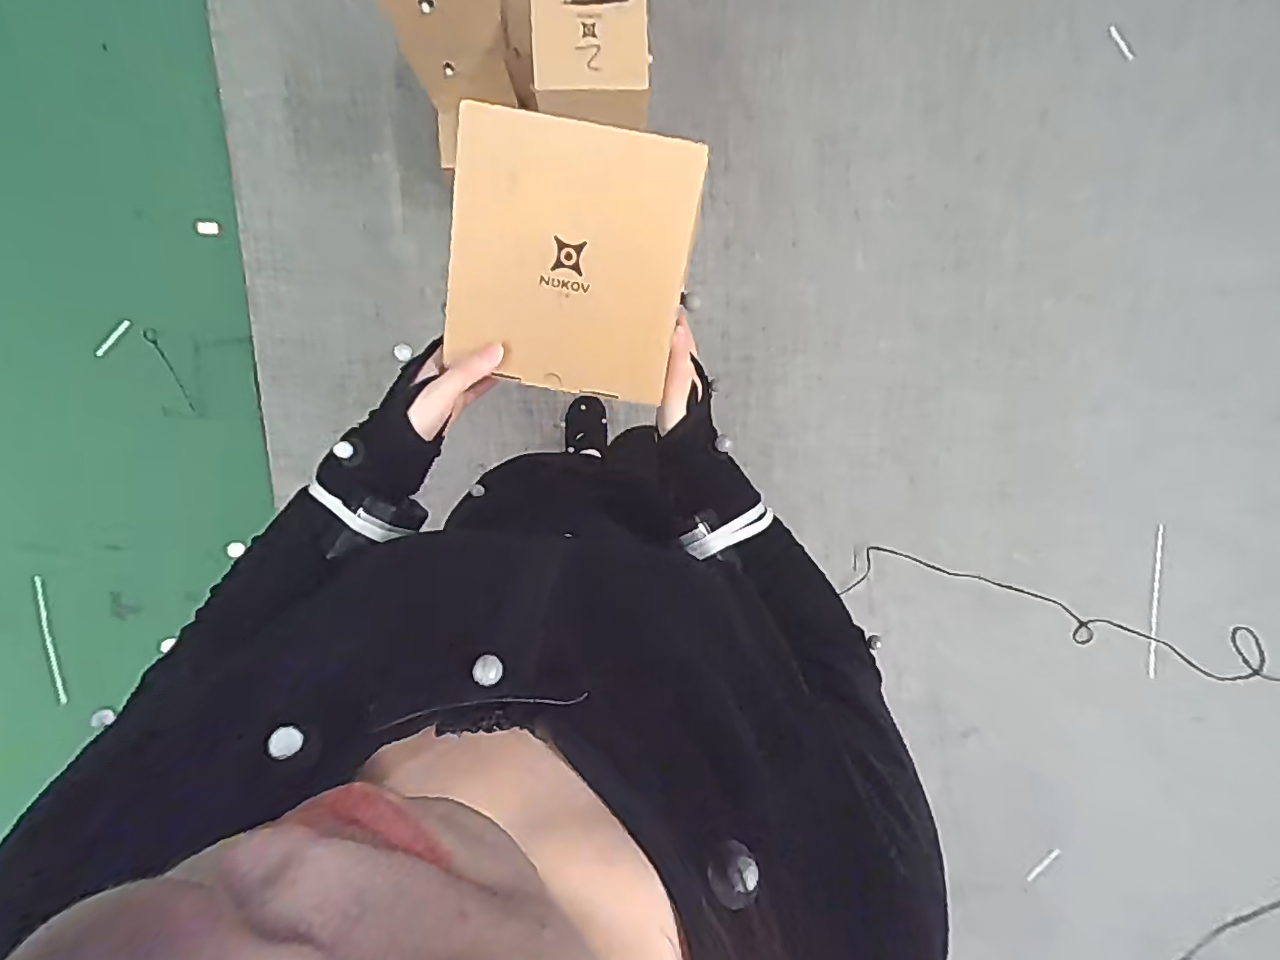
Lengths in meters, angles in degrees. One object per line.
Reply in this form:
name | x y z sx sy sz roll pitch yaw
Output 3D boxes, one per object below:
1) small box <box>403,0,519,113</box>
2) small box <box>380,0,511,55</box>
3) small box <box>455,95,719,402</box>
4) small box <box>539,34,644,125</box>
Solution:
small box | -0.316 -0.800 0.974 0.168 0.176 0.179 -1 96 -2
small box | -0.302 -0.777 0.809 0.179 0.176 0.168 -2 97 -2
small box | -0.040 -0.178 0.451 0.168 0.176 0.179 10 109 -1
small box | -0.087 -0.681 1.001 0.179 0.176 0.168 -3 97 -3
